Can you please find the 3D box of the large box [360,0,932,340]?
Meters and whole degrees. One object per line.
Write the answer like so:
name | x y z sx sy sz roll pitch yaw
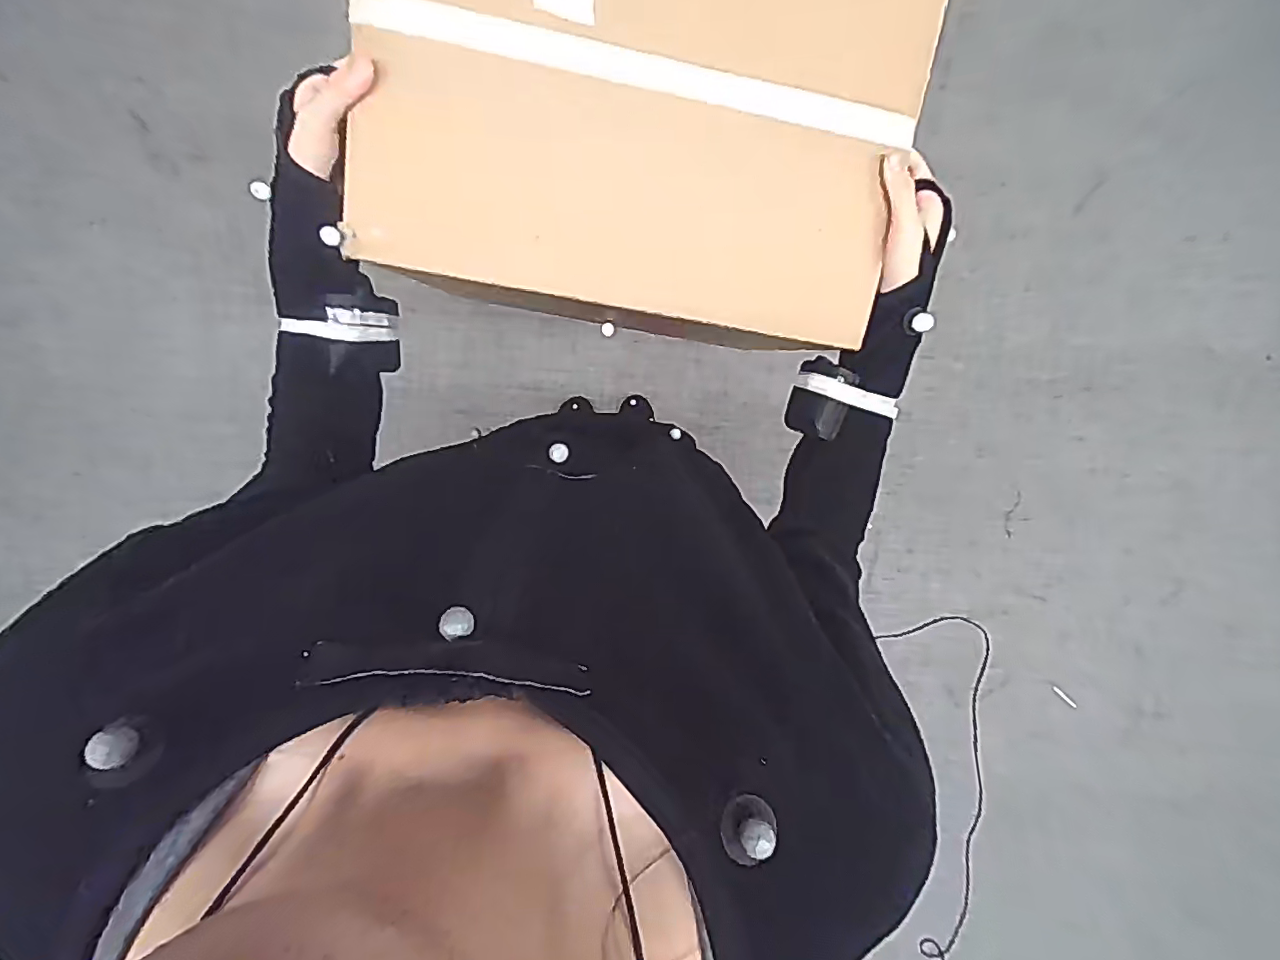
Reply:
large box | -0.005 -0.329 0.543 0.408 0.320 0.320 9 103 -7
